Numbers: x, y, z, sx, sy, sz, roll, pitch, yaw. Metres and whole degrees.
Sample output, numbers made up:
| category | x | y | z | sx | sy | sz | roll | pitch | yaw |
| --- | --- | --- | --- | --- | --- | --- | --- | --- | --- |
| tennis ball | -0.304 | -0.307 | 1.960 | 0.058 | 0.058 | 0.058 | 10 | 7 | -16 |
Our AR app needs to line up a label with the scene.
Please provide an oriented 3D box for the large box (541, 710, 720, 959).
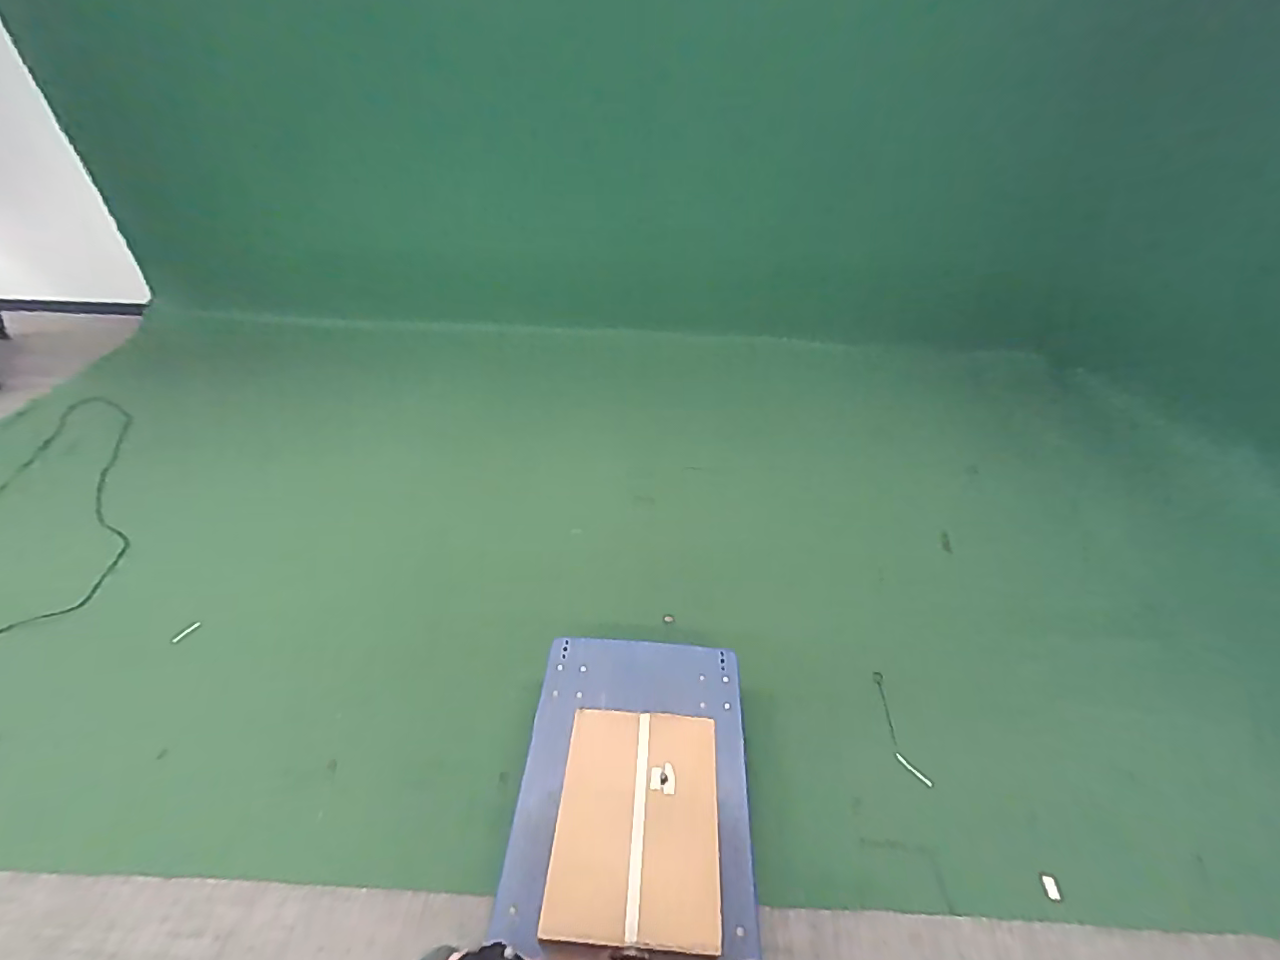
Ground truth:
| category | x | y | z | sx | sy | sz | roll | pitch | yaw |
| --- | --- | --- | --- | --- | --- | --- | --- | --- | --- |
| large box | -0.009 | 0.768 | 1.159 | 0.320 | 0.320 | 0.408 | 4 | 41 | 2 |
